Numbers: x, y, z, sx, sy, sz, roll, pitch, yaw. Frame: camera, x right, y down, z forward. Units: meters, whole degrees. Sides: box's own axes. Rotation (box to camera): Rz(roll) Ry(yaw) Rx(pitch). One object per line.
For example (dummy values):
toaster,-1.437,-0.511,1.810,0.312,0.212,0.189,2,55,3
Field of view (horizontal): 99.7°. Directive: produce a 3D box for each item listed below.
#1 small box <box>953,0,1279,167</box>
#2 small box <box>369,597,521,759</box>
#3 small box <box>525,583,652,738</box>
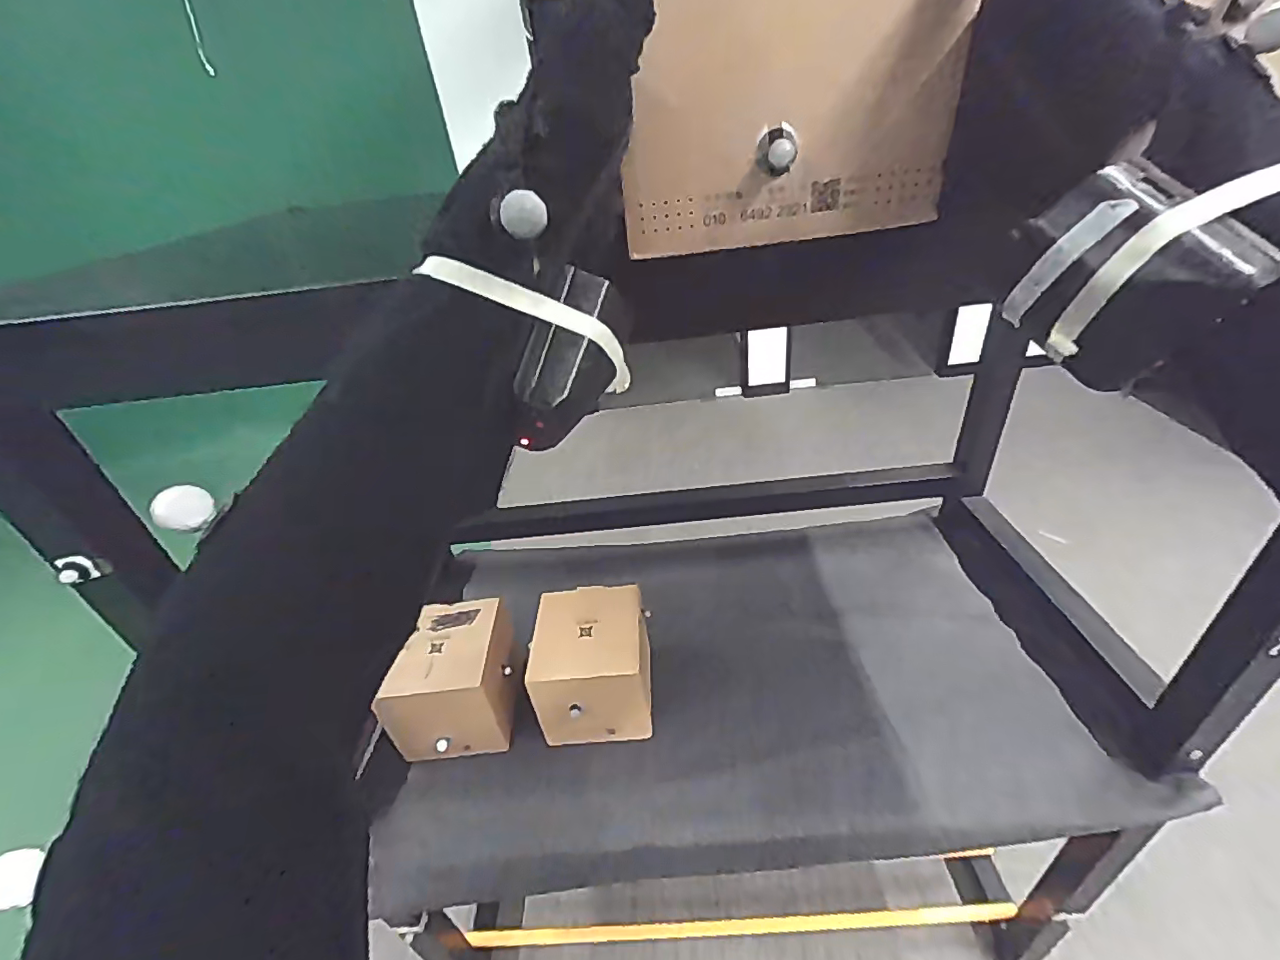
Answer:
small box,0.337,-0.317,0.362,0.168,0.176,0.179,-1,33,10
small box,-0.298,0.316,0.873,0.168,0.176,0.179,-7,33,1
small box,-0.072,0.292,0.866,0.168,0.176,0.179,-6,32,3
